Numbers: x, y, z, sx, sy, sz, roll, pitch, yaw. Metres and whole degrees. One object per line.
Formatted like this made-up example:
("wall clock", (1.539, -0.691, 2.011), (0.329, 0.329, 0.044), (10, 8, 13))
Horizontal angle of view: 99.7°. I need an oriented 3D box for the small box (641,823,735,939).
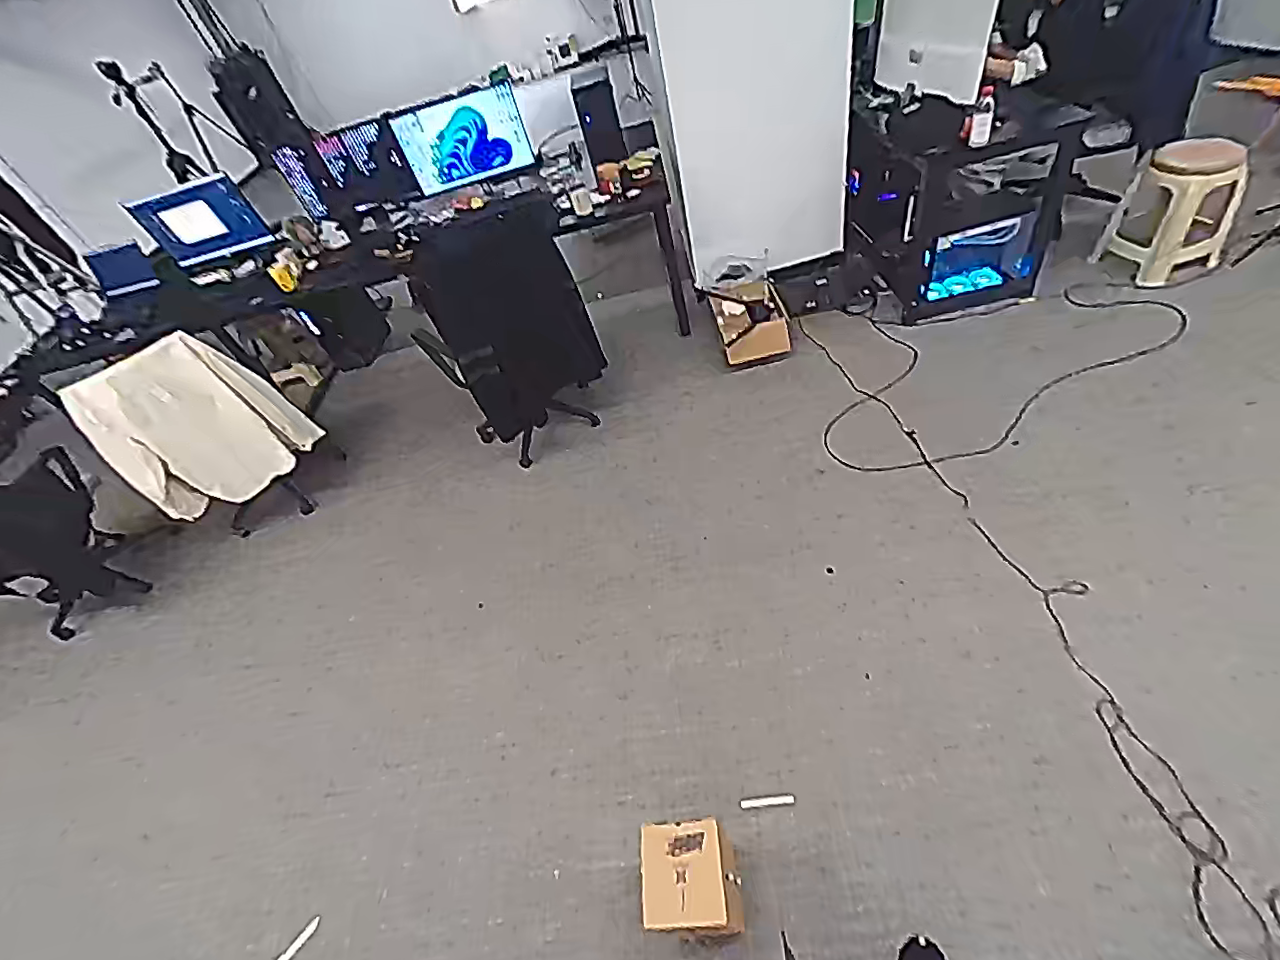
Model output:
("small box", (0.101, 0.846, 1.140), (0.168, 0.176, 0.179), (-11, 47, 9))
